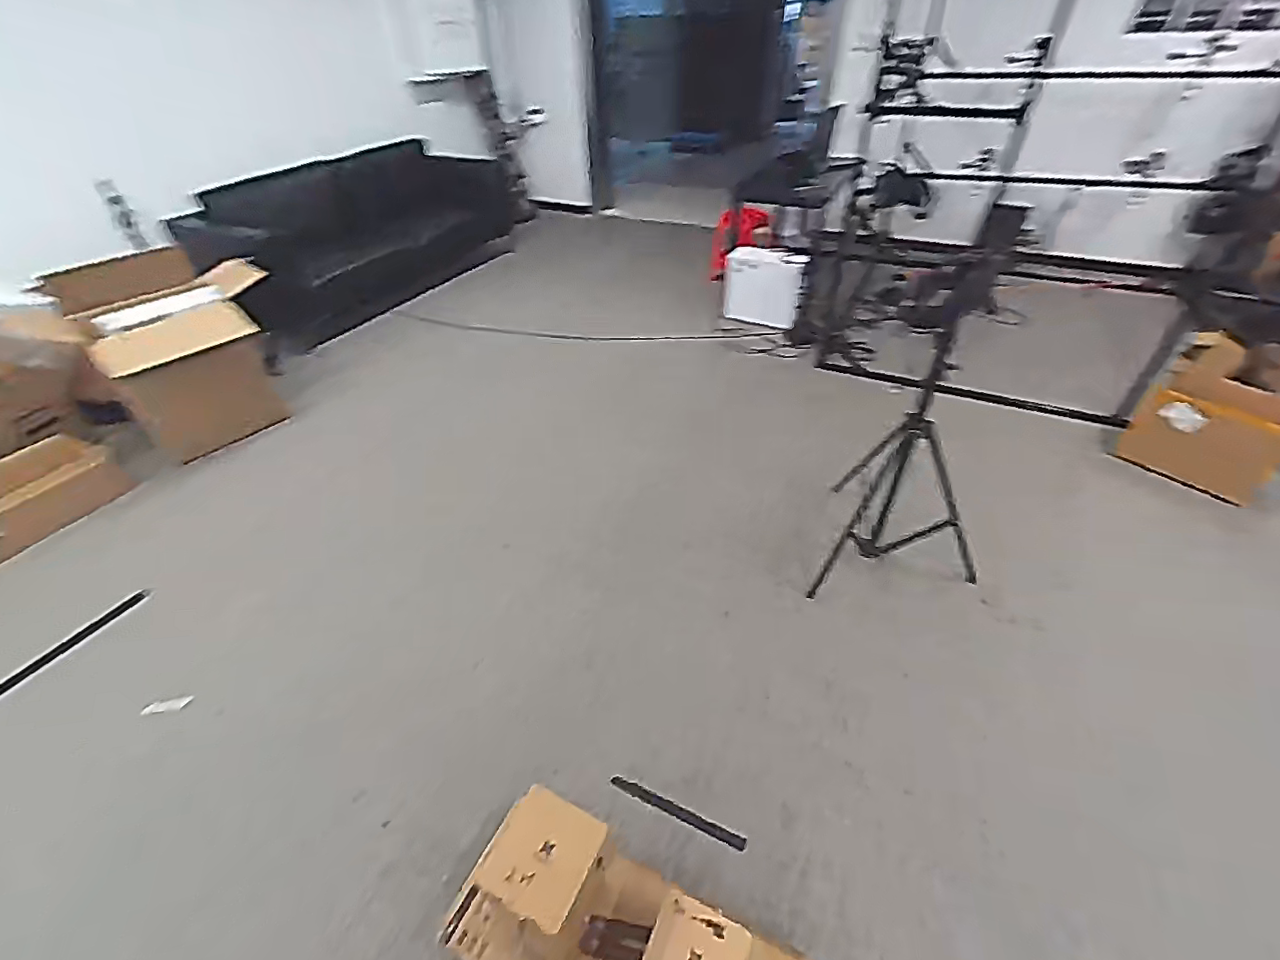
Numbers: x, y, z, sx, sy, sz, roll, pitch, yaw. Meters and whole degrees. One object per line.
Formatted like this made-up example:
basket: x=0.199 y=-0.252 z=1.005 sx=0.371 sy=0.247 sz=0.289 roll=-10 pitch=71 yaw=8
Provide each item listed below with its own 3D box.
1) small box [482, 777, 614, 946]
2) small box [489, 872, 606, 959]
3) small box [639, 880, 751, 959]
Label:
small box: x=-0.159 y=0.698 z=0.991 sx=0.168 sy=0.176 sz=0.179 roll=18 pitch=44 yaw=21
small box: x=-0.177 y=0.822 z=1.100 sx=0.168 sy=0.176 sz=0.179 roll=17 pitch=44 yaw=20
small box: x=0.098 y=0.900 z=1.001 sx=0.168 sy=0.176 sz=0.179 roll=16 pitch=44 yaw=23
